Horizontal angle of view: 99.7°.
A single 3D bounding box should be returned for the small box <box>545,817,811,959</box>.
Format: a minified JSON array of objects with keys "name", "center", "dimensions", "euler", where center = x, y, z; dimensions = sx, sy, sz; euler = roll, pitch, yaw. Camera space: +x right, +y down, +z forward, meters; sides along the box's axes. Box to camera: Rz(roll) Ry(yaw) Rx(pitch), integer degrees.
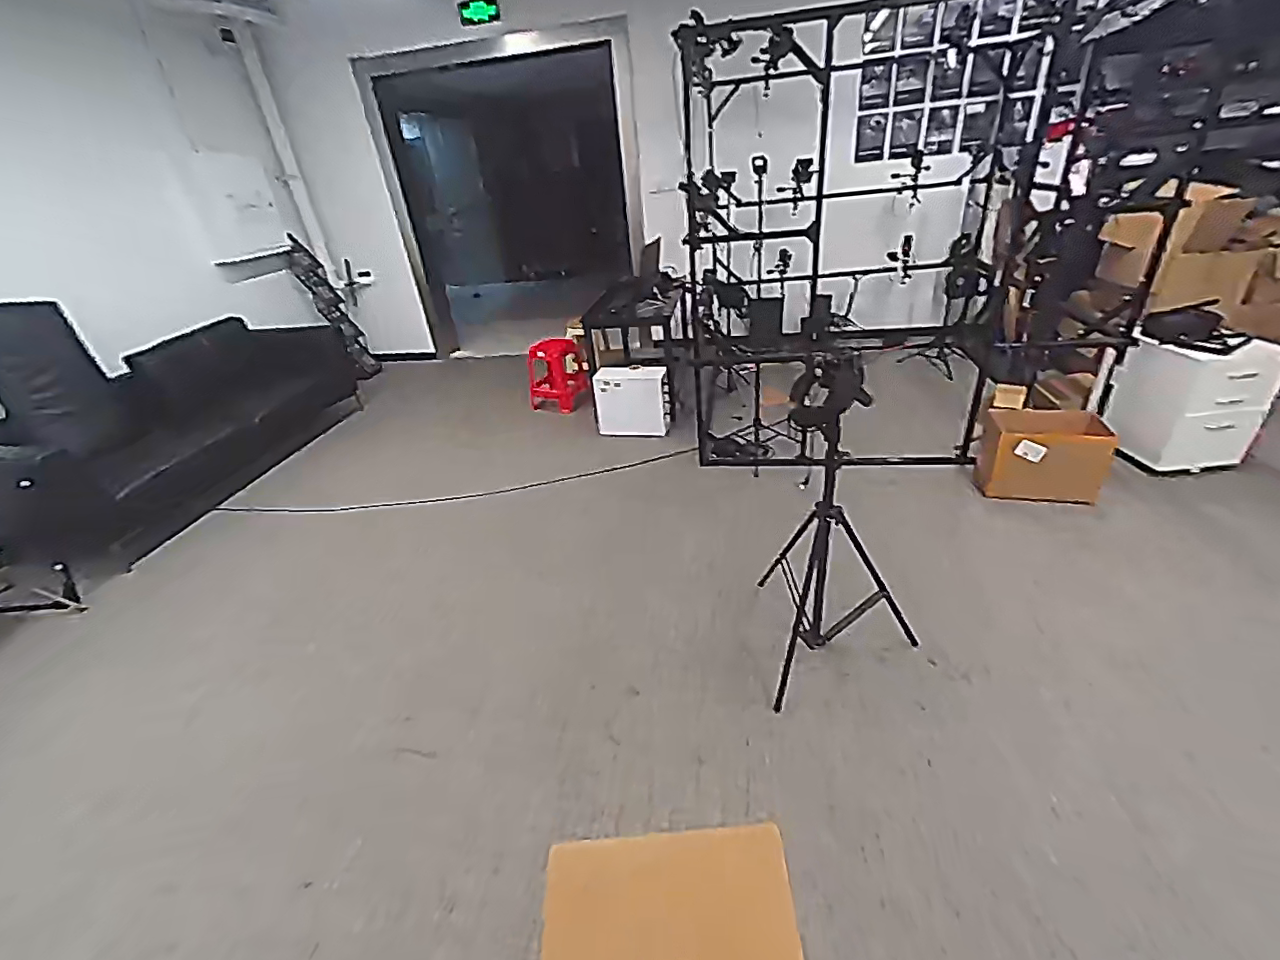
[{"name":"small box","center":[0.032,0.361,0.371],"dimensions":[0.168,0.176,0.179],"euler":[-8,42,4]}]
